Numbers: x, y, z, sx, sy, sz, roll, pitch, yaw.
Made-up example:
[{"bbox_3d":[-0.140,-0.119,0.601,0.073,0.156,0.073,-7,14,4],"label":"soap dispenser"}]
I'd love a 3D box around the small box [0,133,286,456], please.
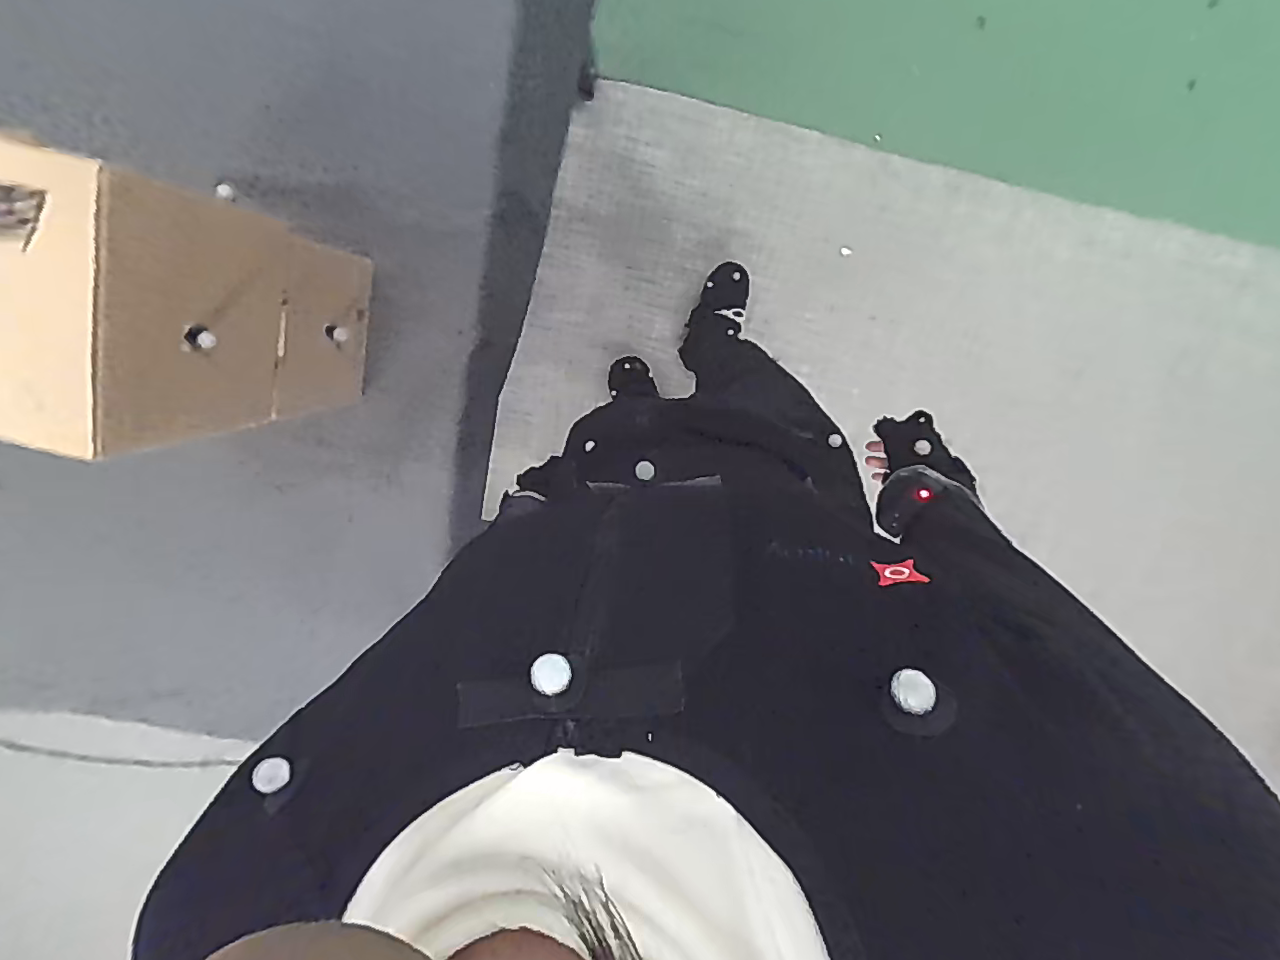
[{"bbox_3d":[-0.394,-0.136,0.396,0.168,0.176,0.179,14,106,-2],"label":"small box"}]

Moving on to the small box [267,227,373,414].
[{"bbox_3d":[-0.400,-0.175,0.556,0.179,0.176,0.168,10,105,-2],"label":"small box"}]
